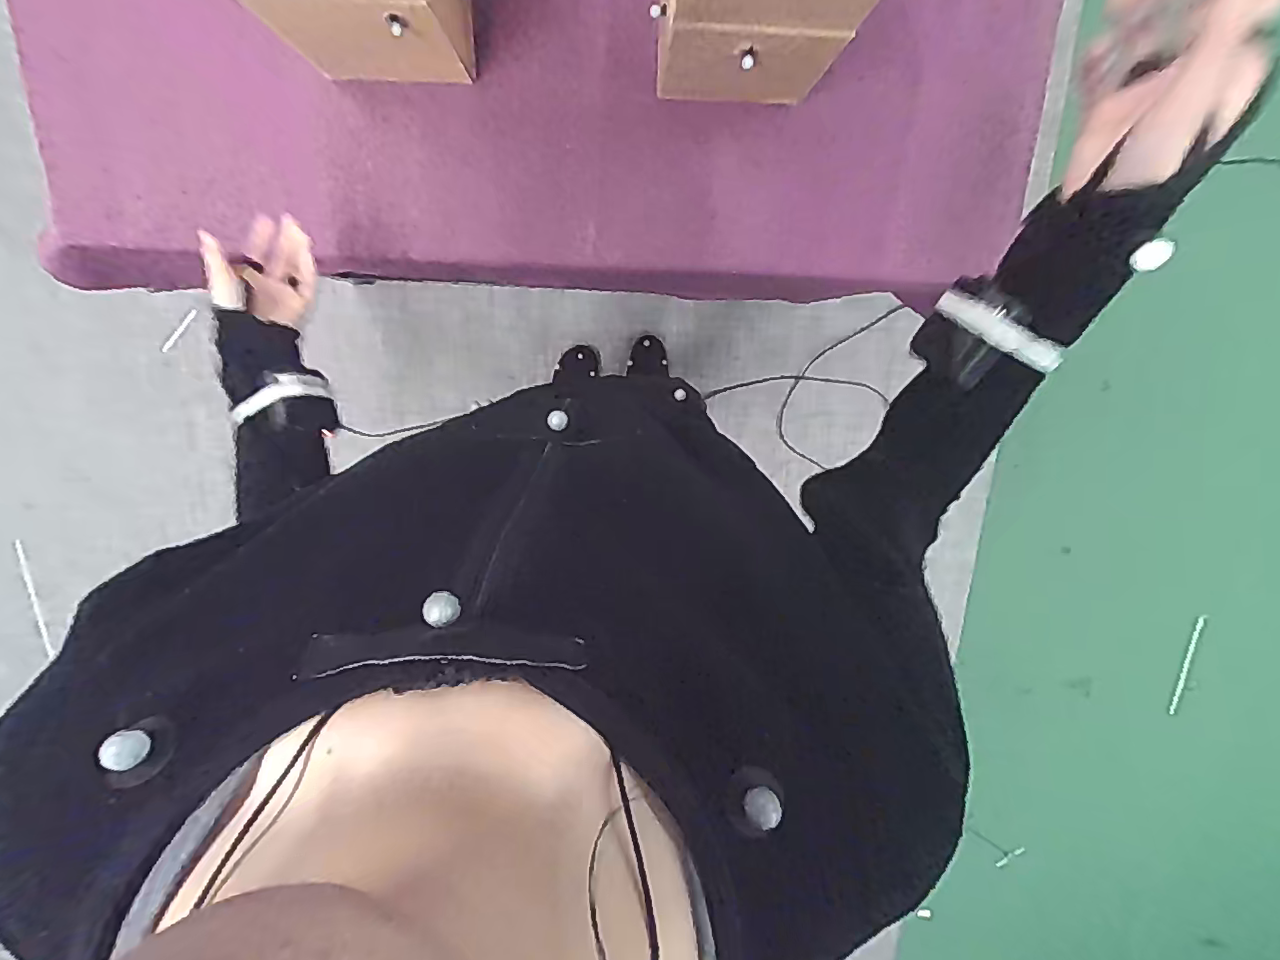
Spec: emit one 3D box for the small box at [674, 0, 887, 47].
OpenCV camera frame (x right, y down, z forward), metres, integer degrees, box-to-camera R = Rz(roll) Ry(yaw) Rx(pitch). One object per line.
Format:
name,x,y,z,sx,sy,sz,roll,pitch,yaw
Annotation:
small box,0.124,-0.467,0.411,0.179,0.176,0.168,1,104,-2

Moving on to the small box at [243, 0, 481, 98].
small box,-0.274,-0.519,0.551,0.179,0.176,0.168,0,103,-3

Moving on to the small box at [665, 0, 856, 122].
small box,0.119,-0.503,0.572,0.179,0.176,0.168,1,105,-1

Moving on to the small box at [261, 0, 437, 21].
small box,-0.258,-0.486,0.390,0.168,0.176,0.179,-1,103,-2
